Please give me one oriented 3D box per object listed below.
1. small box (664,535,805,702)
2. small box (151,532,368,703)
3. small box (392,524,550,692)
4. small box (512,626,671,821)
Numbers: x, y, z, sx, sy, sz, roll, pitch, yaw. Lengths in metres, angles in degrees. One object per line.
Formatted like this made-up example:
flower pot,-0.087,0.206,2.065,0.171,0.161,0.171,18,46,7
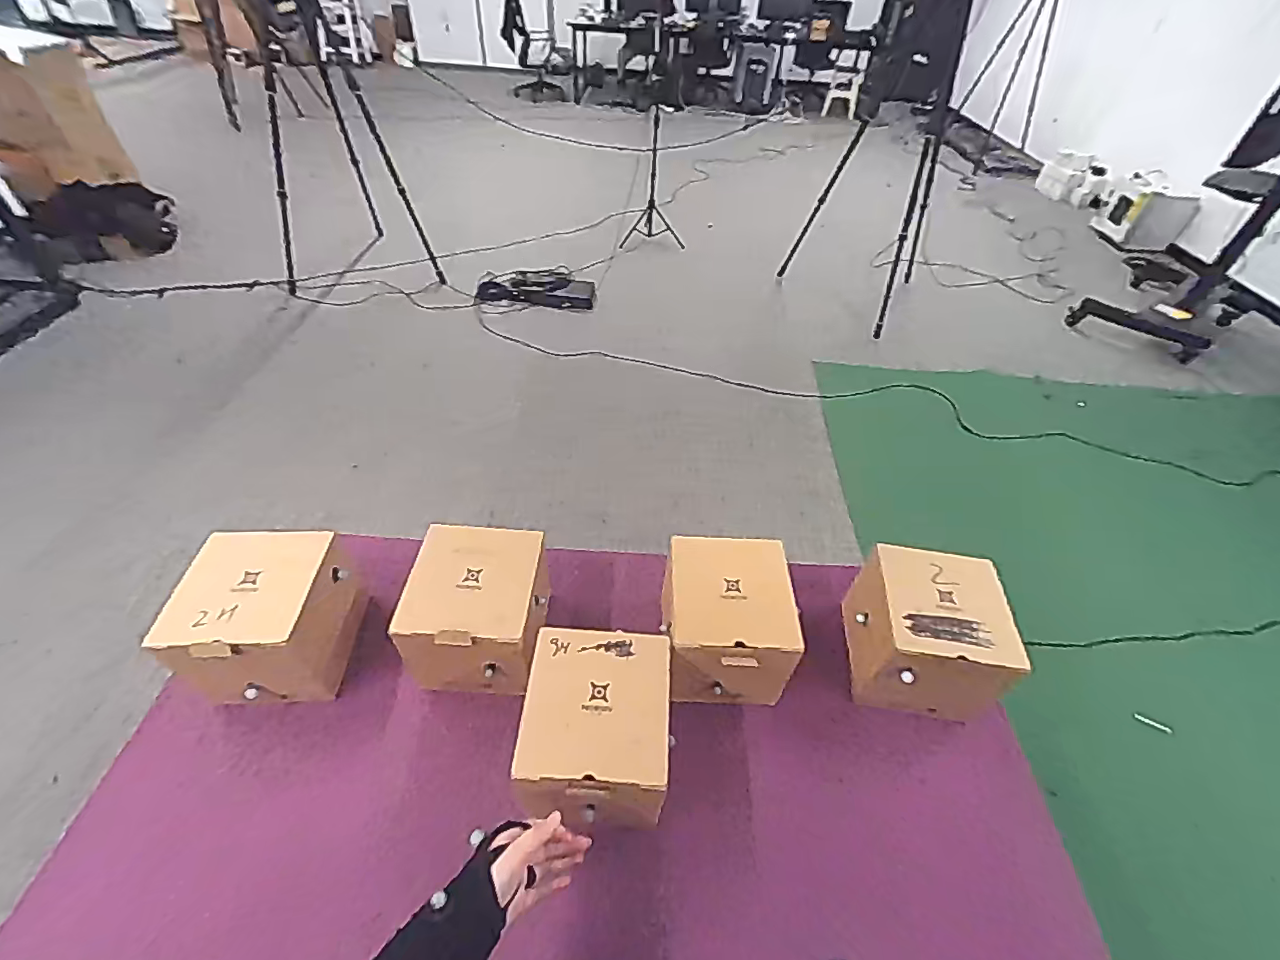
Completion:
small box,0.124,0.201,0.790,0.168,0.176,0.179,2,47,-1
small box,-0.506,0.192,0.758,0.168,0.176,0.179,0,46,-4
small box,-0.225,0.188,0.781,0.168,0.176,0.179,5,45,-1
small box,-0.050,0.306,0.674,0.168,0.176,0.179,4,46,0
